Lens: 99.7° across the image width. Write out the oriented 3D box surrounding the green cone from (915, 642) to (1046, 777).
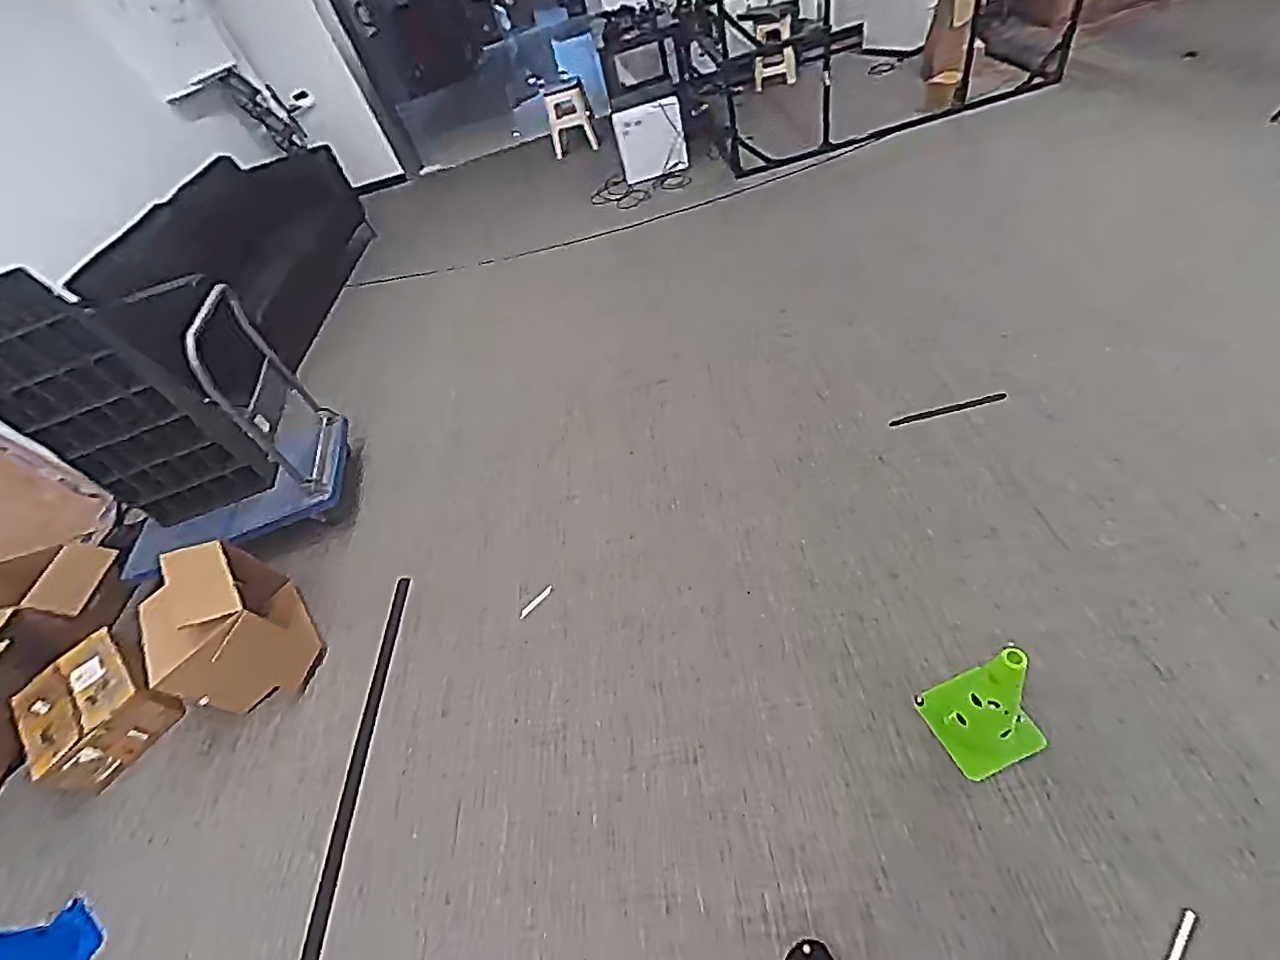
[{"bbox_3d":[0.733,0.435,1.114,0.202,0.368,0.200,-24,47,-5],"label":"green cone"}]
